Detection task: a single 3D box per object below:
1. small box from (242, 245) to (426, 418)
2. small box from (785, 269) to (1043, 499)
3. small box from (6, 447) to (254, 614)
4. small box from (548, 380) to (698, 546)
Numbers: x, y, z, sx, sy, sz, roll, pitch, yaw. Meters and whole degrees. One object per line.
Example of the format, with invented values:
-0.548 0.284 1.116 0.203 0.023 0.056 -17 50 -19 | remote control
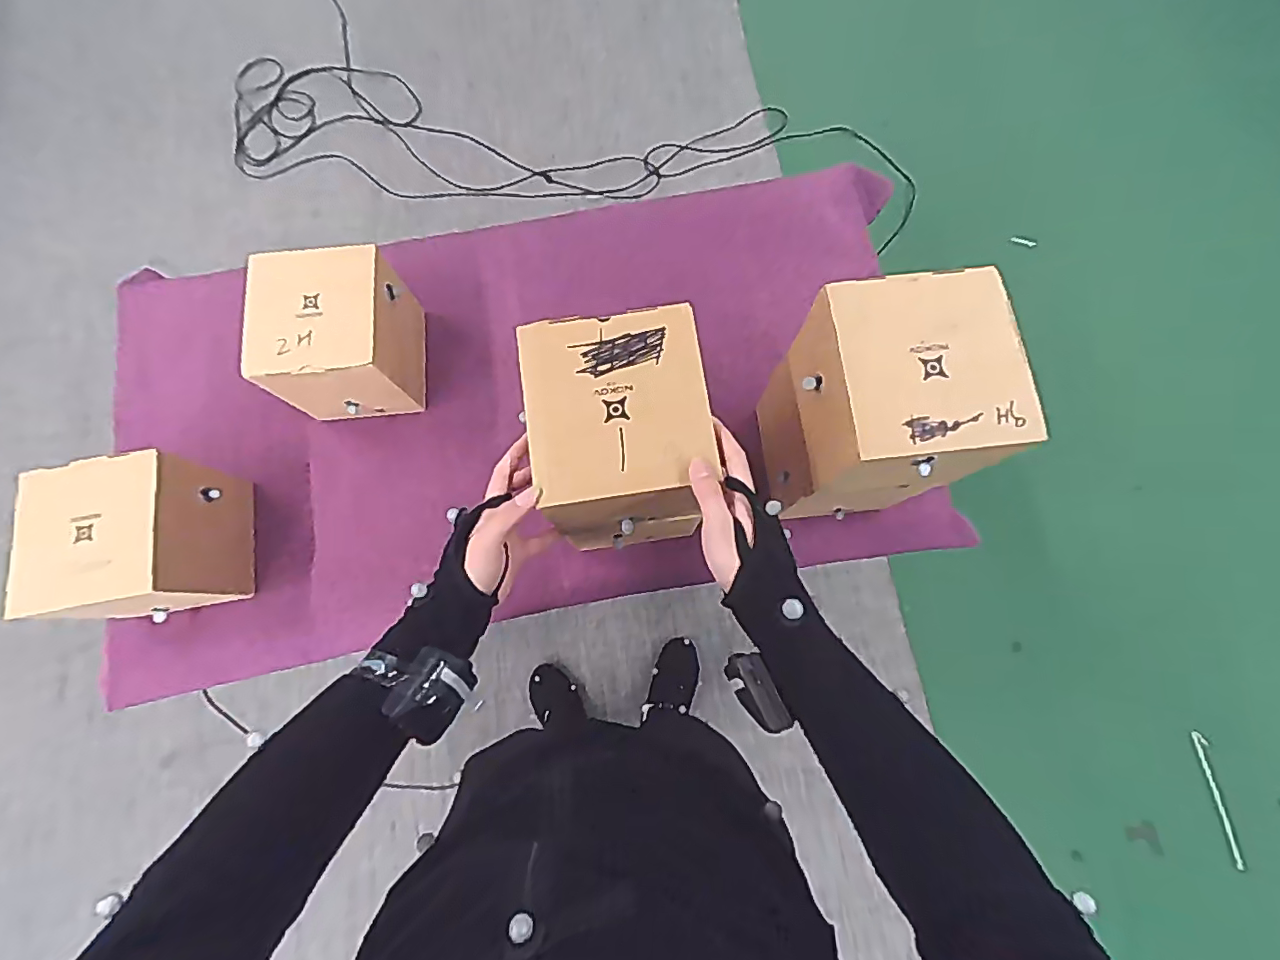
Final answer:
-0.417 -0.201 0.766 0.168 0.176 0.179 -5 78 0 | small box
0.260 -0.088 0.563 0.168 0.176 0.179 -6 76 0 | small box
-0.640 0.074 0.704 0.168 0.176 0.179 -10 77 -1 | small box
-0.019 -0.011 0.721 0.168 0.176 0.179 -8 76 -1 | small box
